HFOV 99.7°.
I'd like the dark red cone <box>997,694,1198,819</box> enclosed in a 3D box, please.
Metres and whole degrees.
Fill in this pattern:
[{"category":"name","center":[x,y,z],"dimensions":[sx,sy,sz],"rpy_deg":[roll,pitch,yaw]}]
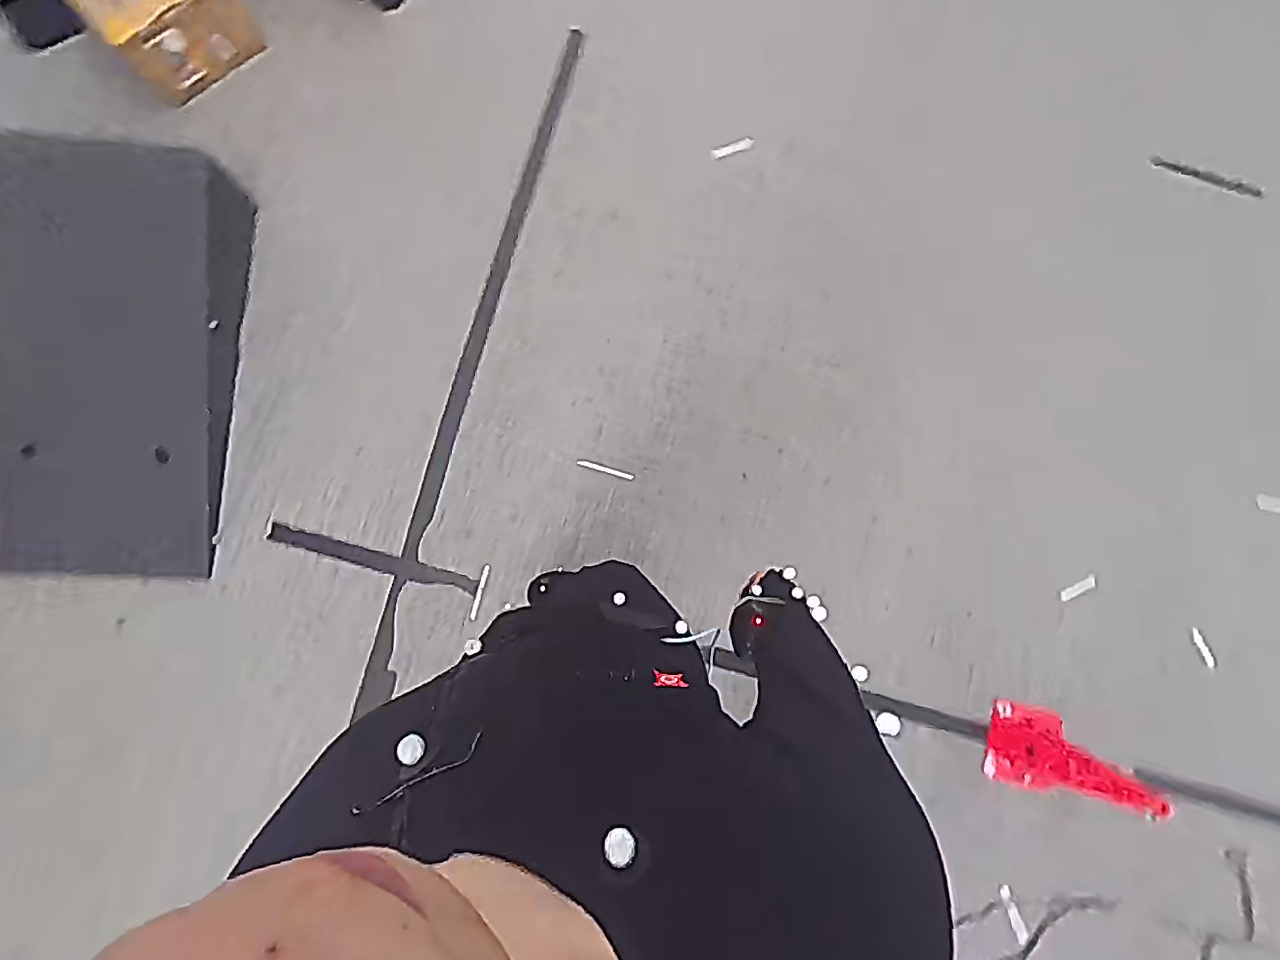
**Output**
[{"category":"dark red cone","center":[1.047,0.657,1.243],"dimensions":[0.202,0.394,0.201],"rpy_deg":[15,84,-4]}]
